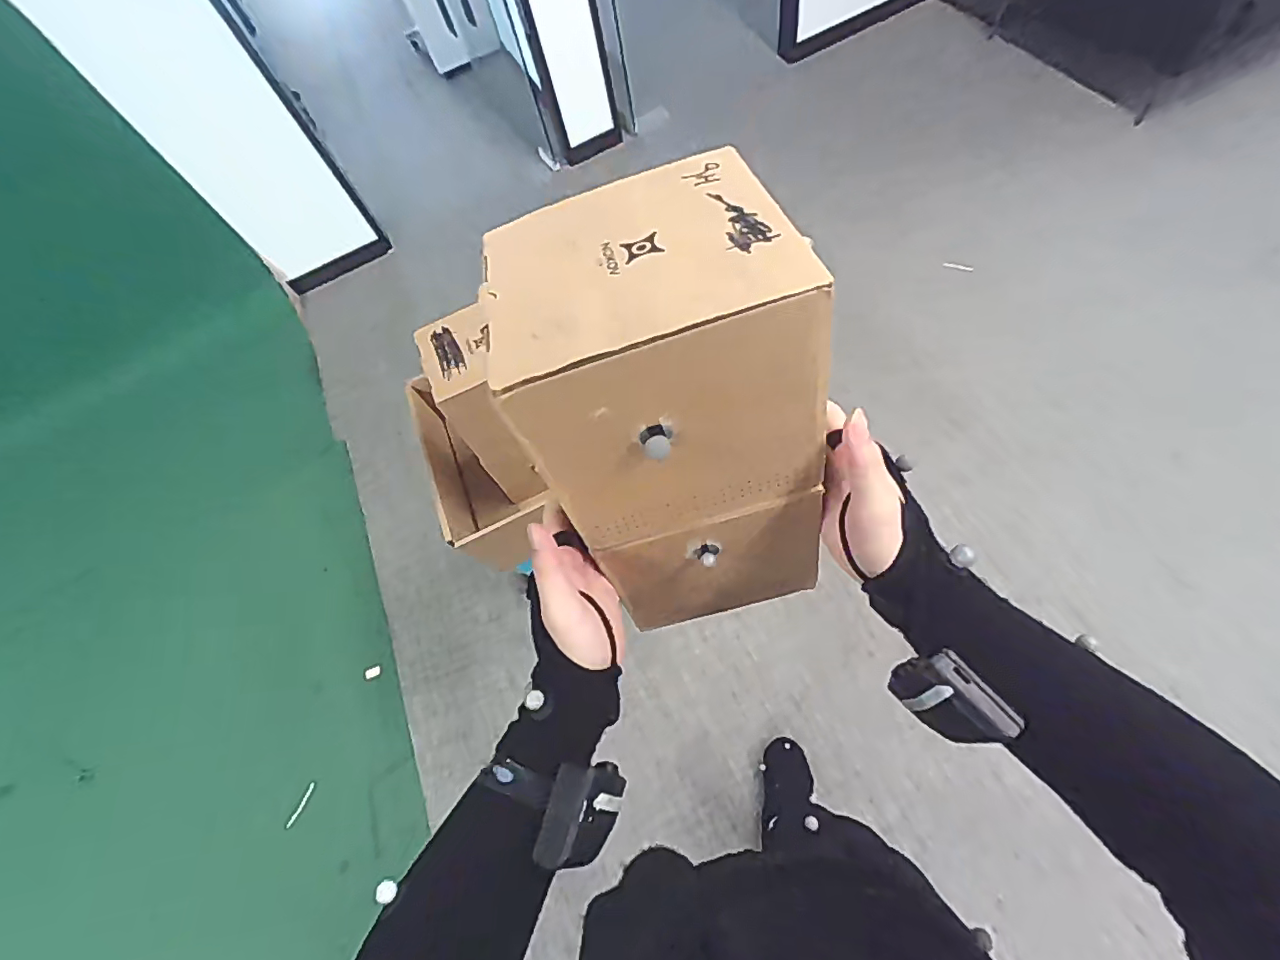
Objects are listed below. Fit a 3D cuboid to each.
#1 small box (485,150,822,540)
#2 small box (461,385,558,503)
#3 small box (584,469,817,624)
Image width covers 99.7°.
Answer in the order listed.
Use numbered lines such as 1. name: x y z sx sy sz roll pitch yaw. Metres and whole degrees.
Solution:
1. small box: 0.012 -0.081 0.372 0.179 0.176 0.168 -18 52 4
2. small box: -0.212 -0.085 1.037 0.179 0.176 0.168 -24 60 -4
3. small box: 0.052 0.015 0.500 0.179 0.176 0.168 -15 52 5
